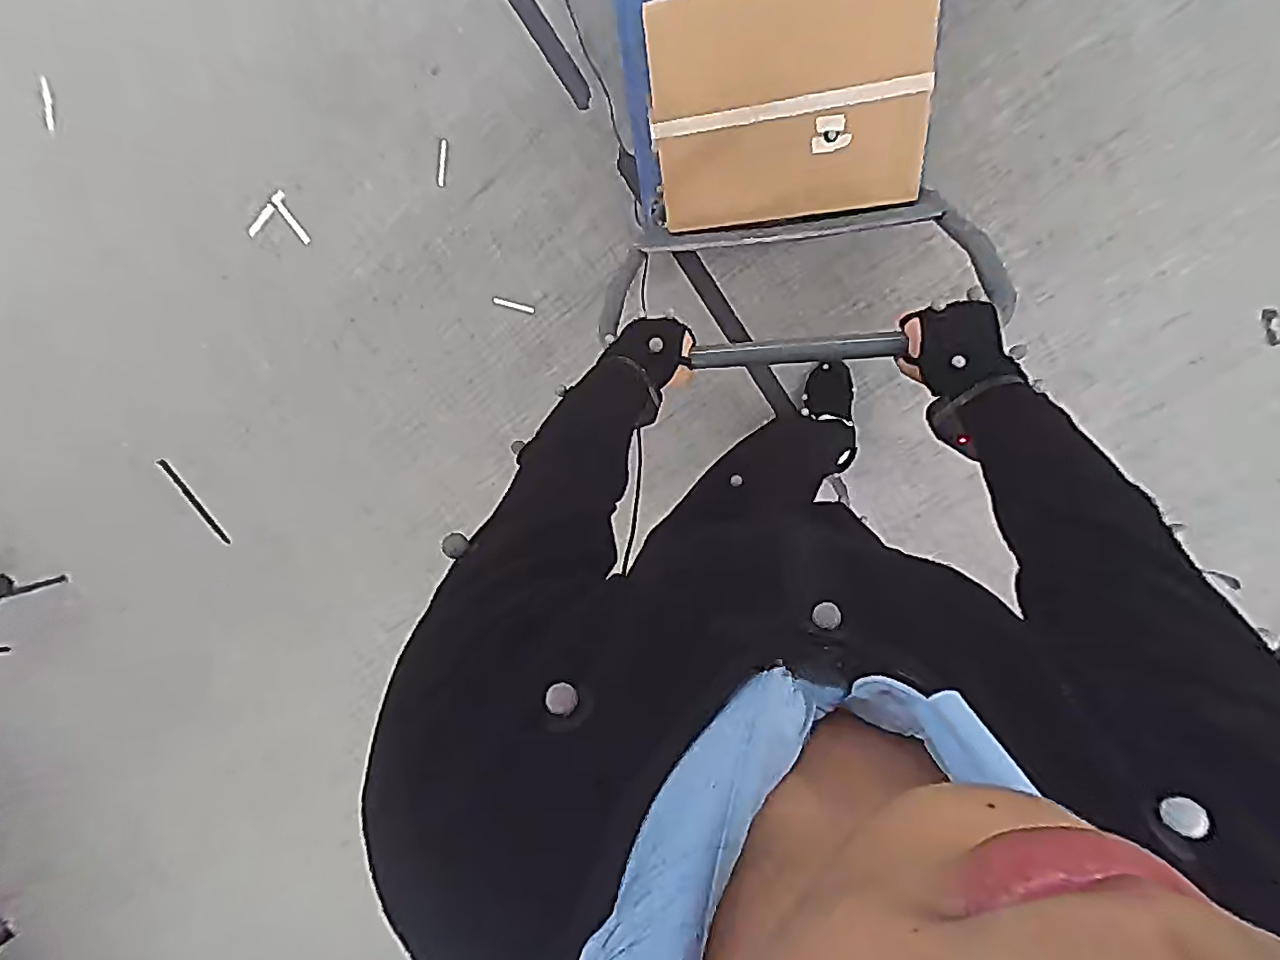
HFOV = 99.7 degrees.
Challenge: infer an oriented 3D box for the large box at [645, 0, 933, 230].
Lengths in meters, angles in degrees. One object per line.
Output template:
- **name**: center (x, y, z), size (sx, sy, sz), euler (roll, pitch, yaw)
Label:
- **large box**: center (0.247, -0.661, 0.952), size (0.408, 0.320, 0.320), euler (-2, 124, 13)
